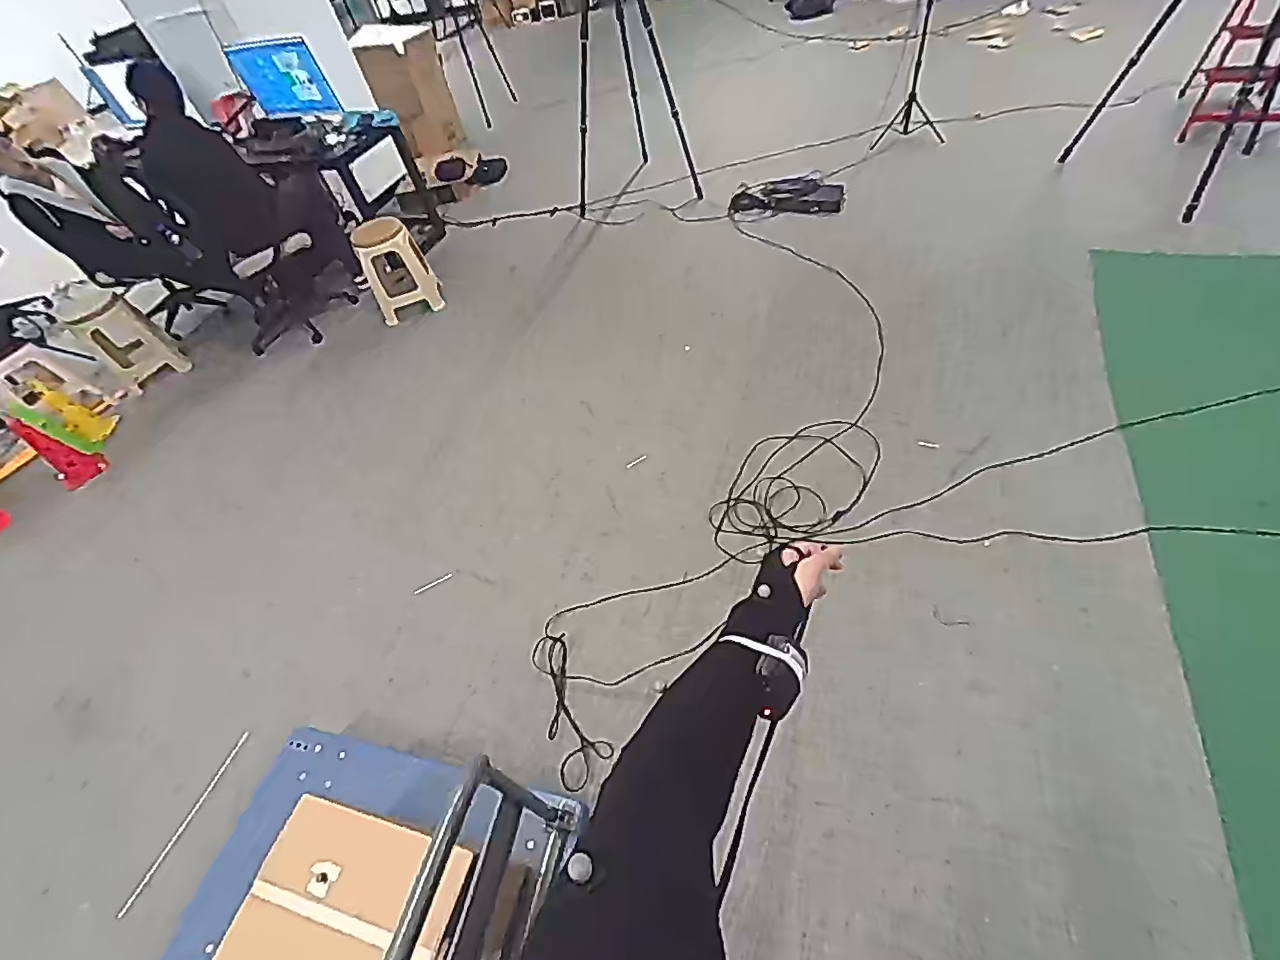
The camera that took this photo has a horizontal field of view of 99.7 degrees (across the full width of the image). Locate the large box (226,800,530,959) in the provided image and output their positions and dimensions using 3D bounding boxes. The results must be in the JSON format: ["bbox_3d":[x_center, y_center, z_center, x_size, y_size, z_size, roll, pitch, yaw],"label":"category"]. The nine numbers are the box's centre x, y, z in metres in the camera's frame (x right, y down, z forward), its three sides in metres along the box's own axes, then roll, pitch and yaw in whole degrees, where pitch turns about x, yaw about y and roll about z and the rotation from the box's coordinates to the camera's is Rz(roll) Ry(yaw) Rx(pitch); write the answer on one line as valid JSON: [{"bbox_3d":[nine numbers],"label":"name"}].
[{"bbox_3d":[-0.490,0.880,1.071,0.408,0.320,0.320,6,52,17],"label":"large box"}]
